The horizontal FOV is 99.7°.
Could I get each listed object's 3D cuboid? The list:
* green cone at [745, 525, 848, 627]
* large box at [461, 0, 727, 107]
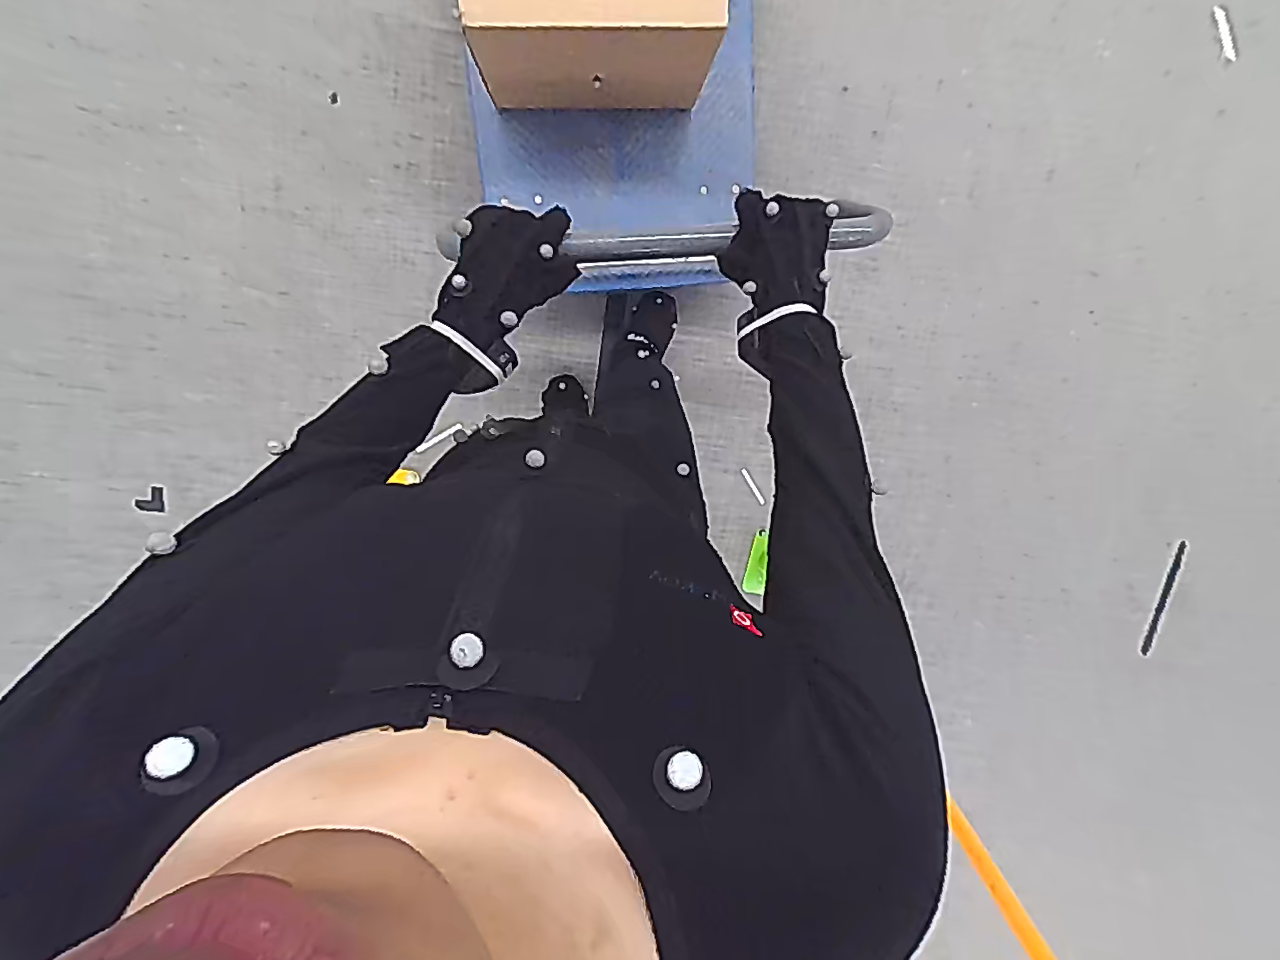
[{"bbox_3d":[0.433,0.278,1.406,0.202,0.368,0.200,10,103,-8],"label":"green cone"},{"bbox_3d":[-0.080,-0.868,0.919,0.408,0.320,0.320,-3,105,-3],"label":"large box"}]
